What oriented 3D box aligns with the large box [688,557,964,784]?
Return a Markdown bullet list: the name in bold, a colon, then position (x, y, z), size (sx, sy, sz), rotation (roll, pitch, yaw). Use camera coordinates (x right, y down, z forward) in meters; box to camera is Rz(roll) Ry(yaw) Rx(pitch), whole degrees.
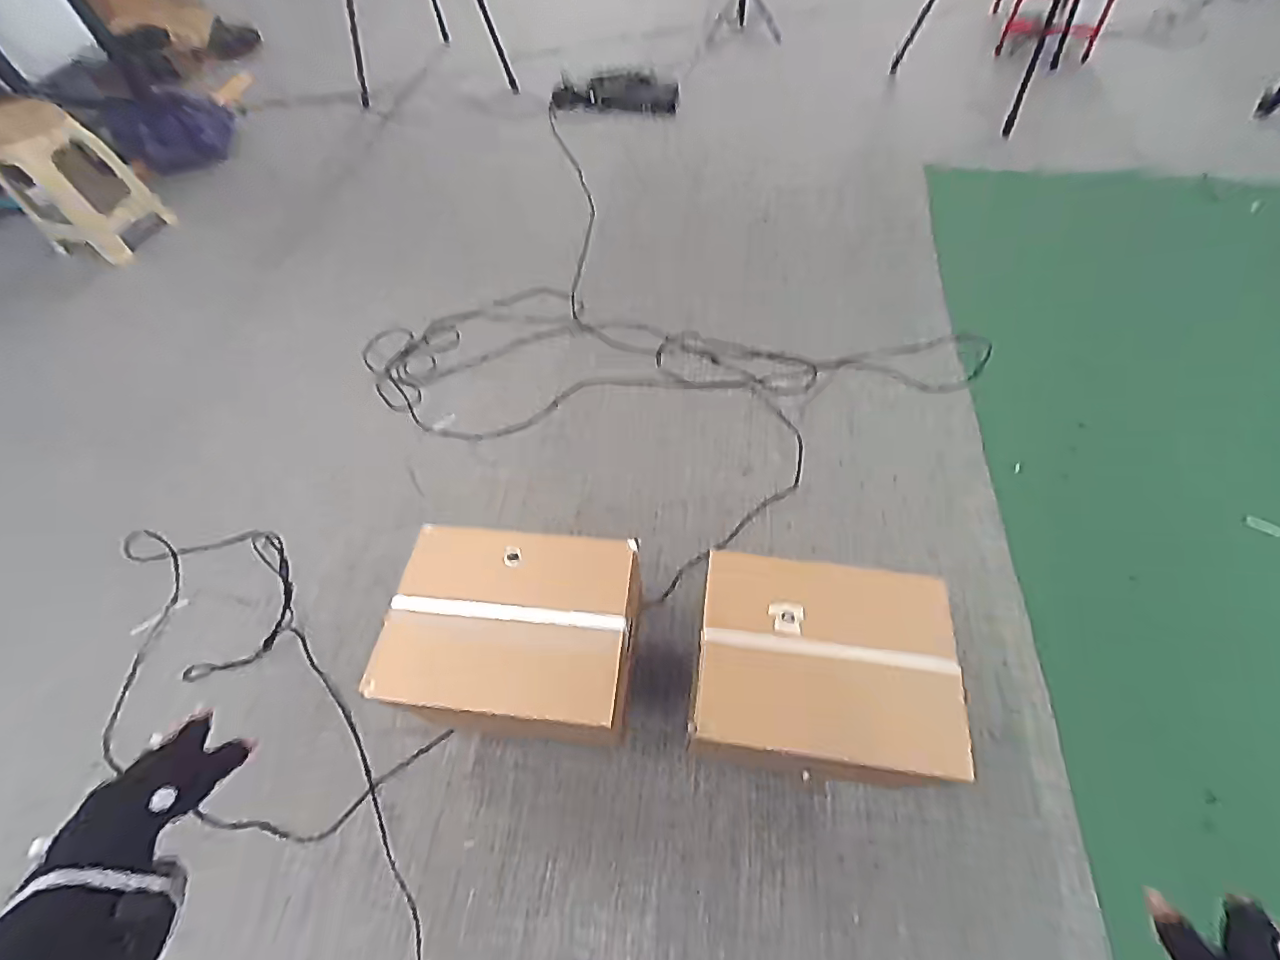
- **large box**: position (0.307, 0.365, 1.011), size (0.408, 0.320, 0.320), rotation (6, 58, 7)
